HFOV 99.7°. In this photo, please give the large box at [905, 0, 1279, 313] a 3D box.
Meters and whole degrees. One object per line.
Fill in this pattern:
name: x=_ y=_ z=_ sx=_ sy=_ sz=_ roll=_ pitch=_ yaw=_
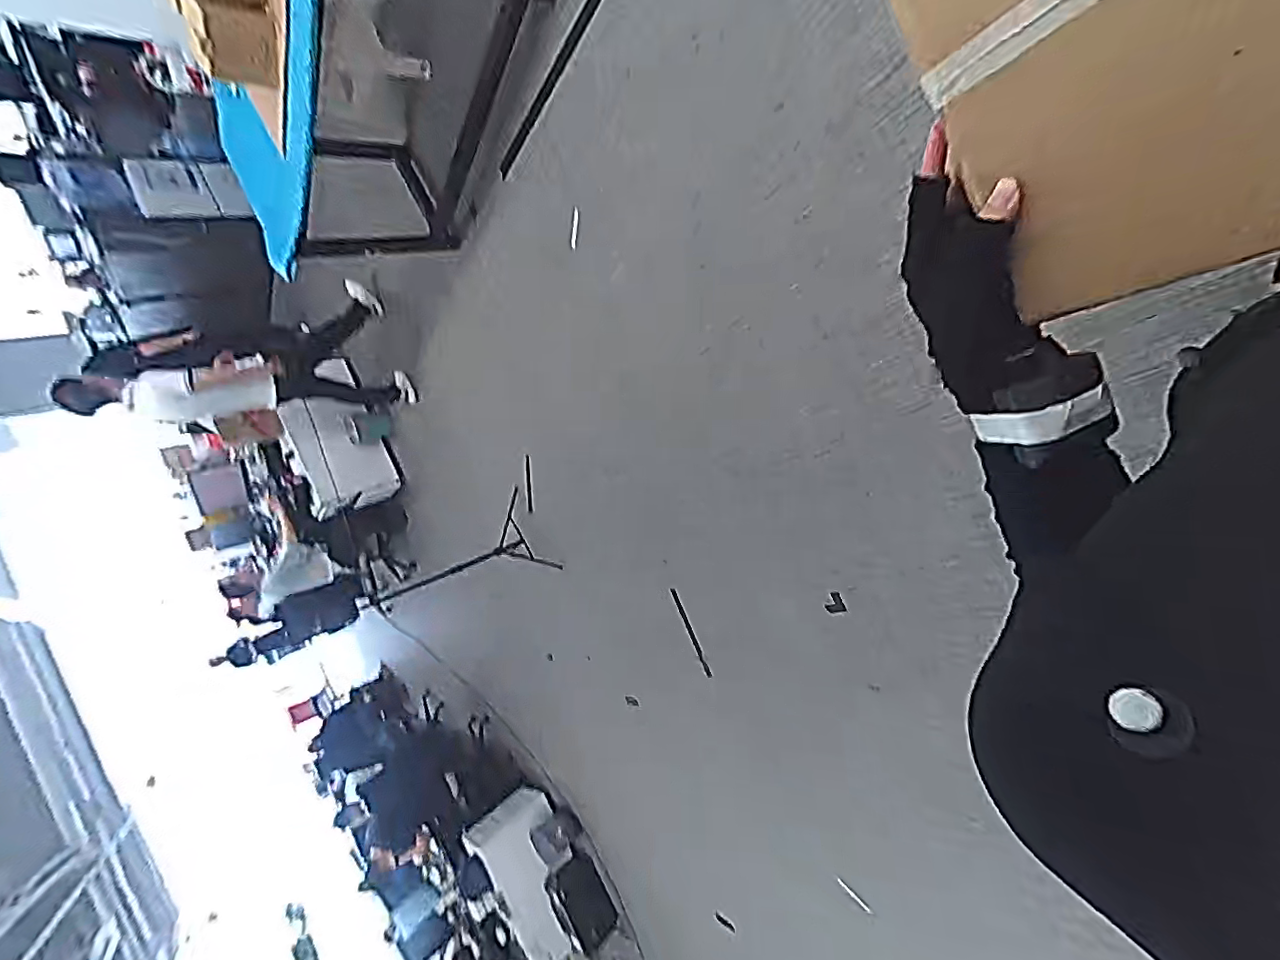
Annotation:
large box: x=0.391 y=-0.341 z=0.249 sx=0.408 sy=0.320 sz=0.320 roll=-12 pitch=114 yaw=55
